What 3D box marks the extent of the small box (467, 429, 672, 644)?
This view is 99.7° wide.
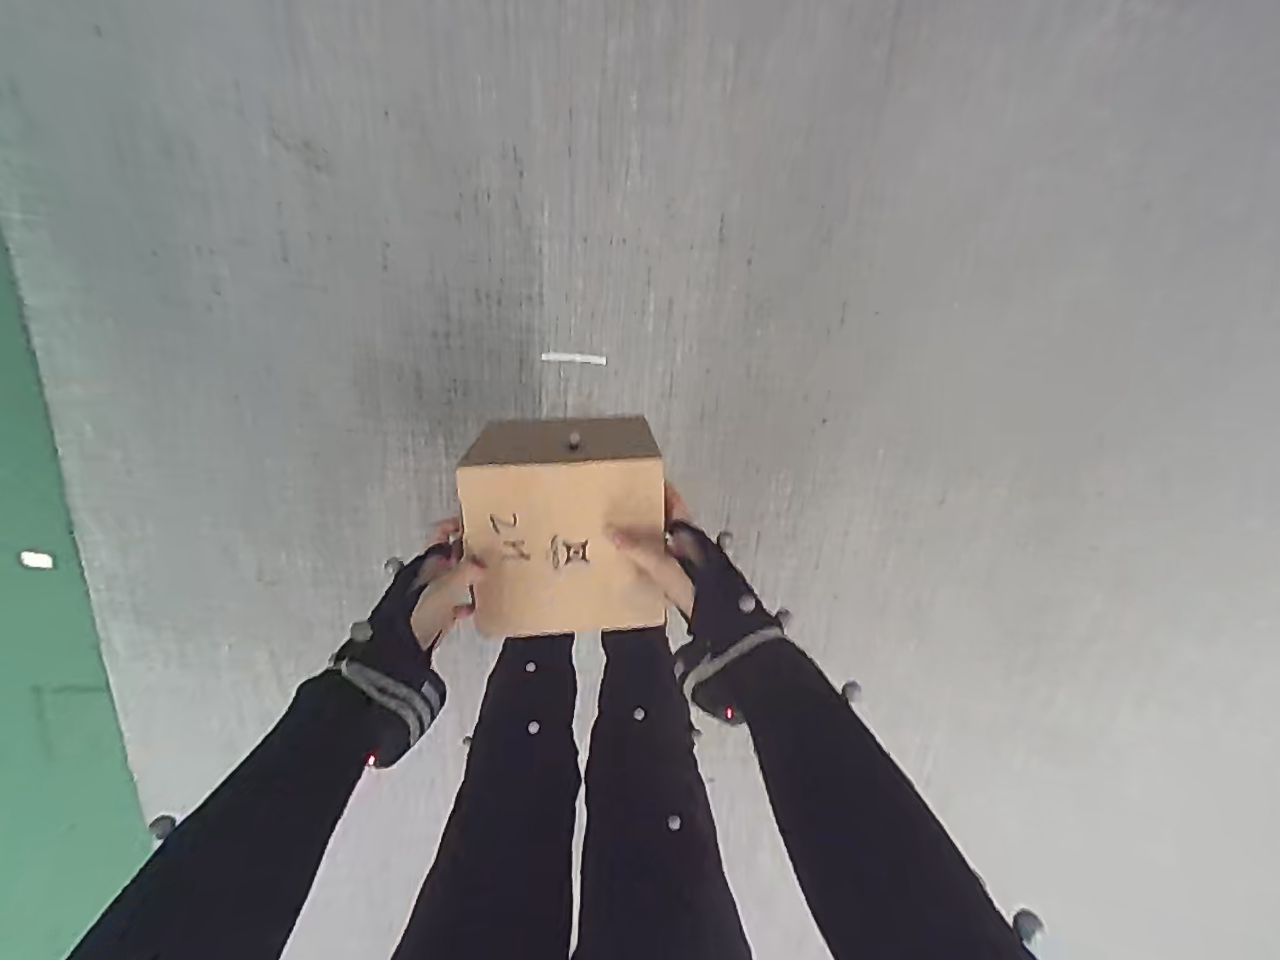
[{"bbox_3d":[-0.067,0.046,0.558,0.179,0.176,0.168,-2,109,-5],"label":"small box"}]
